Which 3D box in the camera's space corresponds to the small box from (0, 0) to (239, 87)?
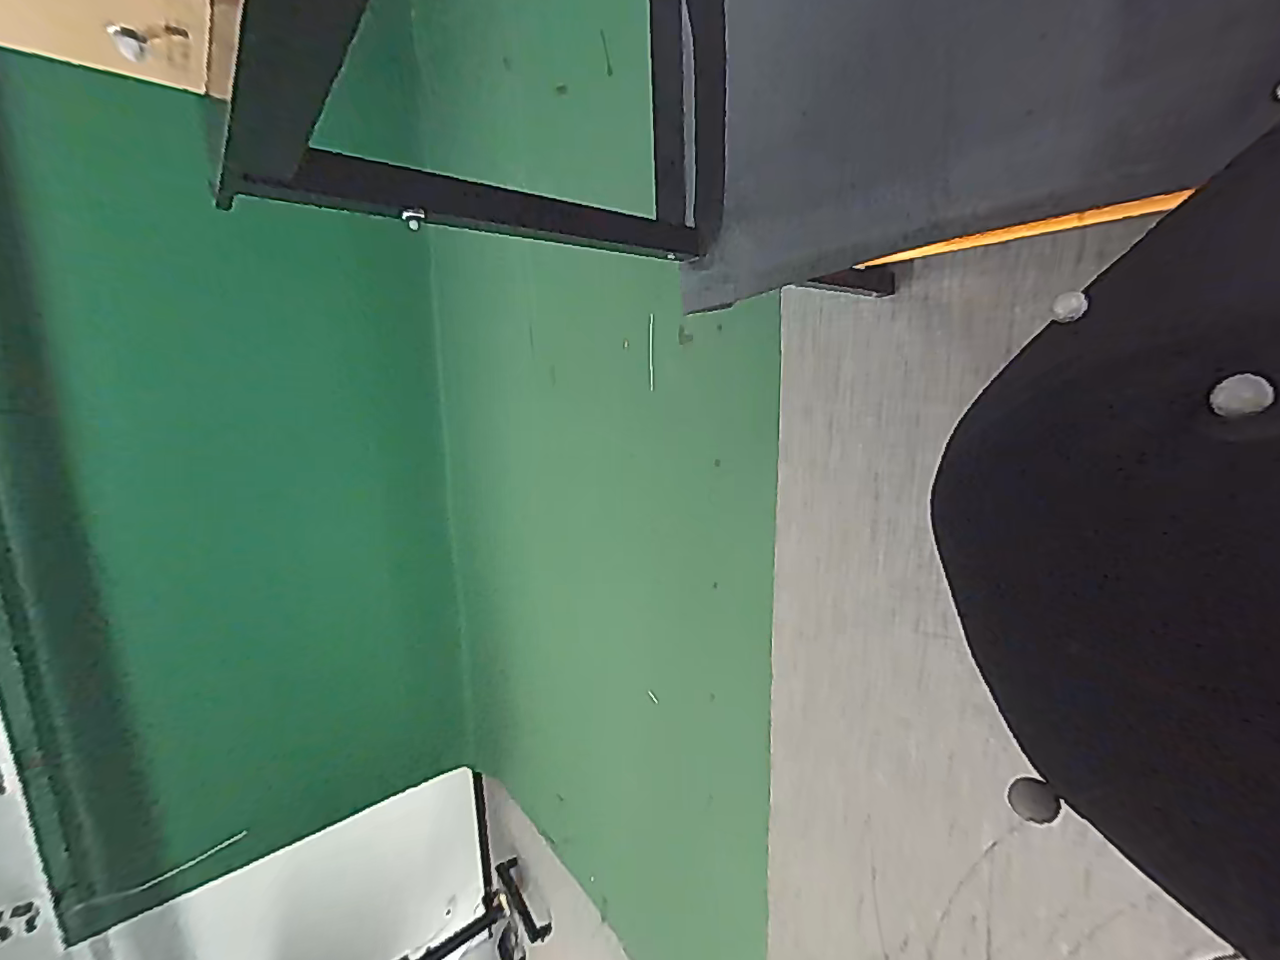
[{"bbox_3d":[-0.416,-0.436,0.395,0.168,0.176,0.179,11,108,50],"label":"small box"}]
